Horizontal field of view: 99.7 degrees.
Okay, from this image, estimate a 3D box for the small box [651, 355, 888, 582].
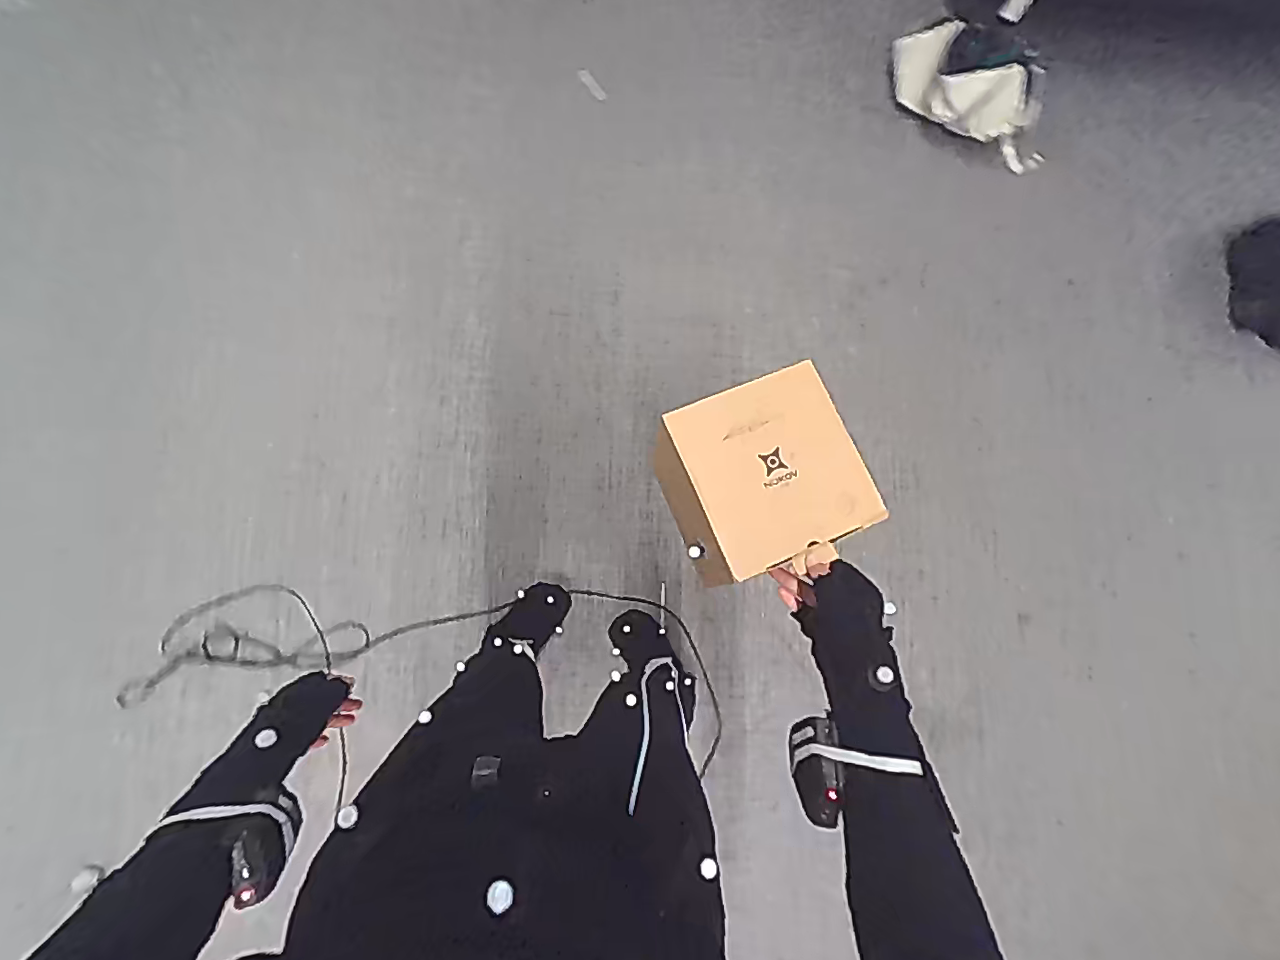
[{"bbox_3d":[0.121,0.000,0.583,0.168,0.176,0.179,-22,79,-8],"label":"small box"}]
